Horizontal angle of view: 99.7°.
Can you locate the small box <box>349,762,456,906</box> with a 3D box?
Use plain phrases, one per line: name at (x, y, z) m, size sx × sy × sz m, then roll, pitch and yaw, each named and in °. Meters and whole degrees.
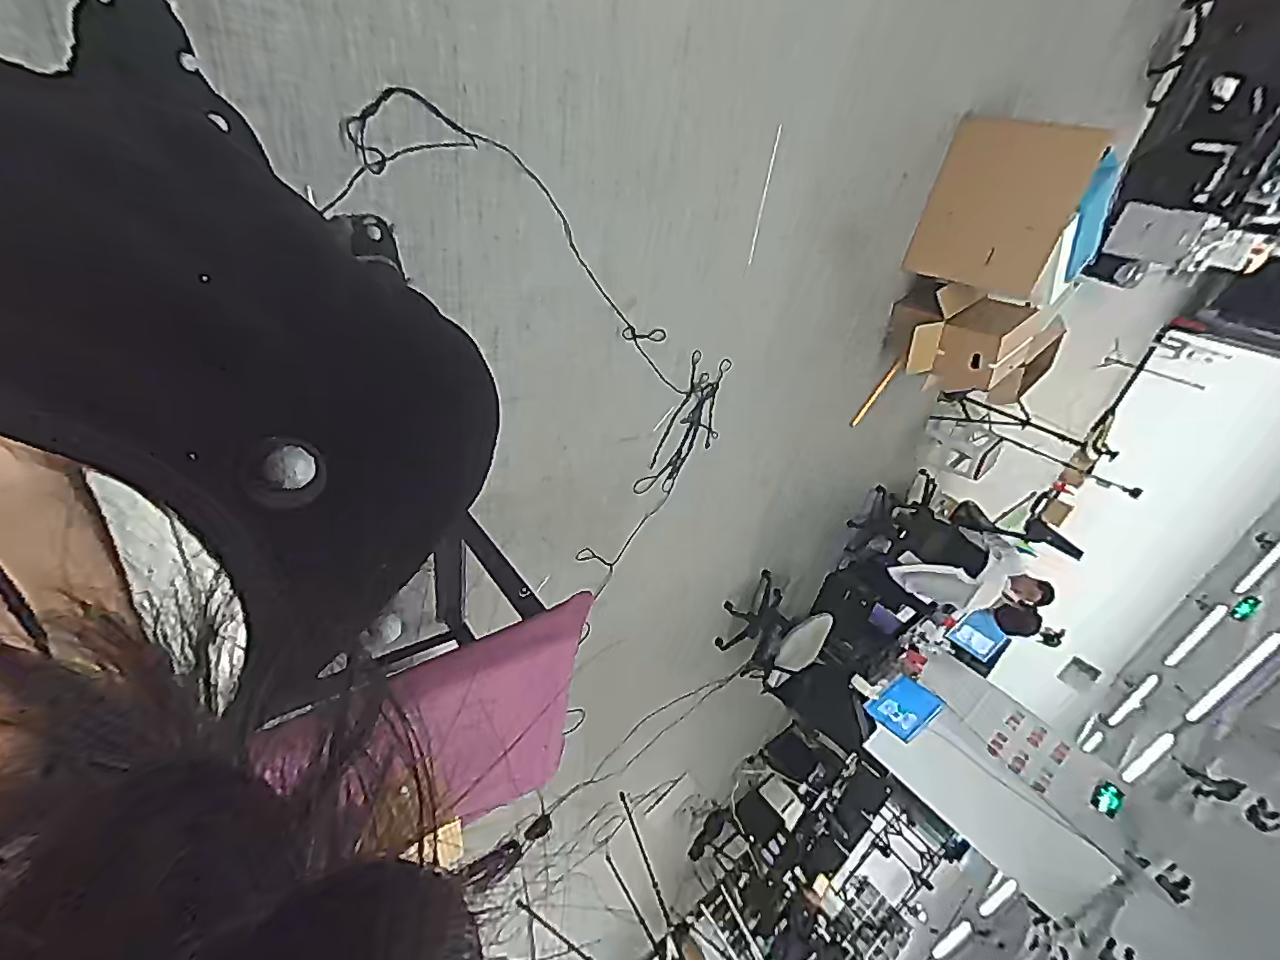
small box at (-0.520, 0.768, 1.189) m, size 0.168 × 0.176 × 0.179 m, roll -19°, pitch 130°, yaw -36°
